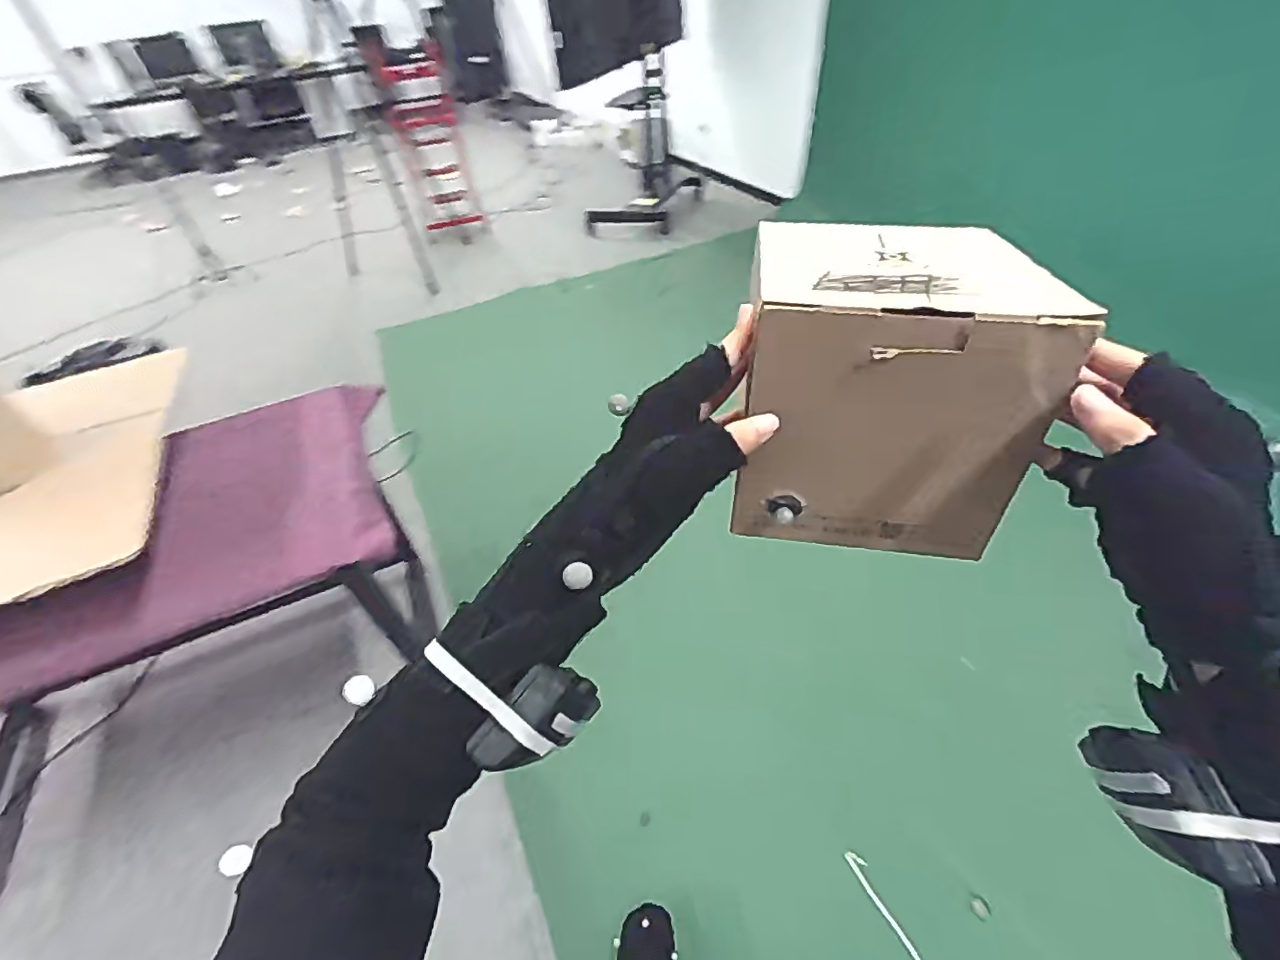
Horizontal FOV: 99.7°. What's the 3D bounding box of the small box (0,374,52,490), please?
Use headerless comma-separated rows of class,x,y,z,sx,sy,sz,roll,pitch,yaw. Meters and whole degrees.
small box,-1.178,-0.079,0.918,0.168,0.176,0.179,-21,45,-14

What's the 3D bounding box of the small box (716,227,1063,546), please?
small box,0.146,-0.072,0.392,0.168,0.176,0.179,5,39,7
